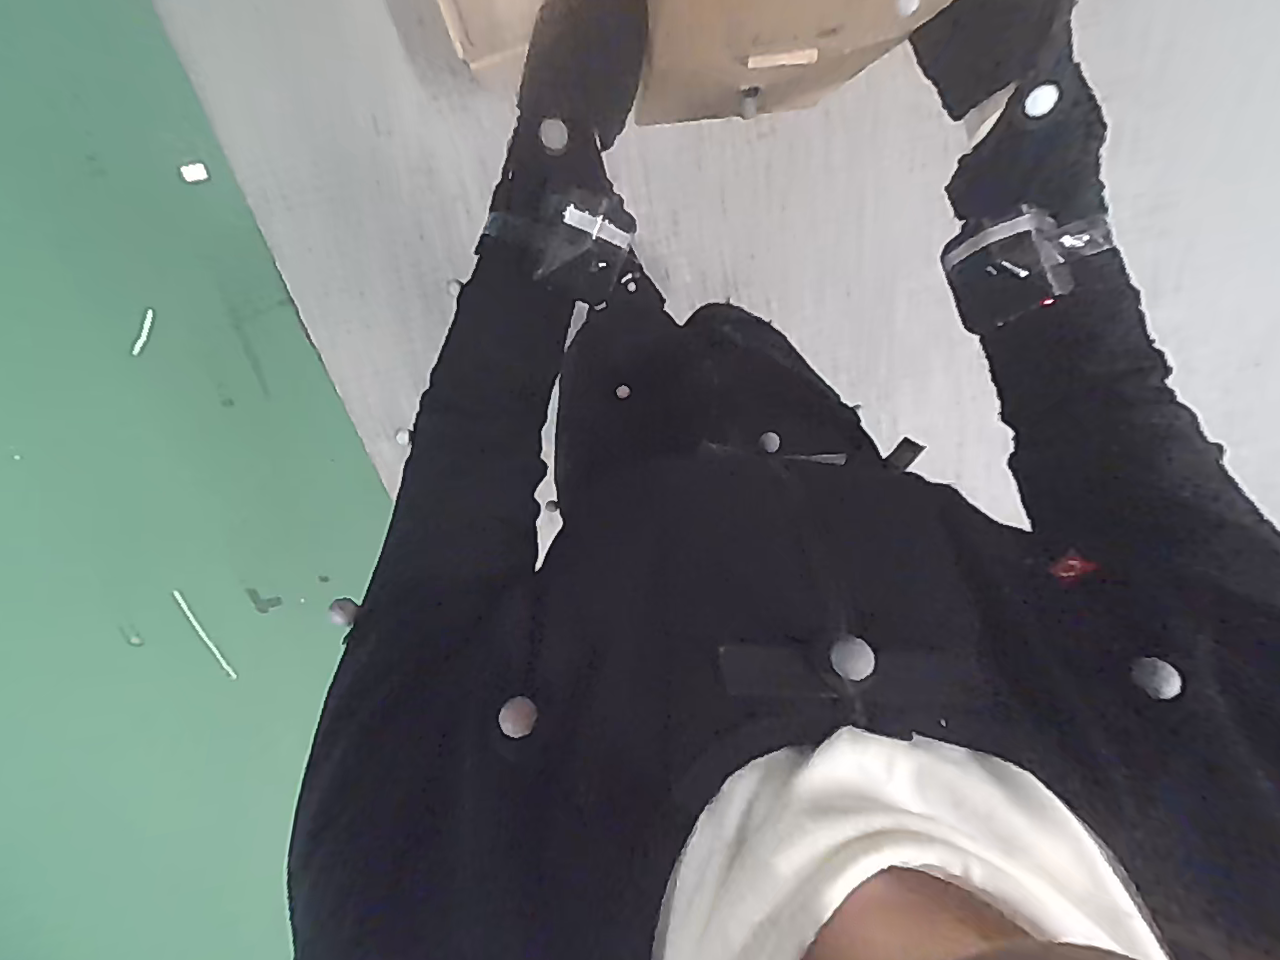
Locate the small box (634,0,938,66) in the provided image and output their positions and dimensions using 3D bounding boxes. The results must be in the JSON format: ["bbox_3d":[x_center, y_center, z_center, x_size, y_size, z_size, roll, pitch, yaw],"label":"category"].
[{"bbox_3d":[0.077,-0.316,0.240,0.168,0.176,0.179,-8,110,-1],"label":"small box"}]

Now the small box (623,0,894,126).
[{"bbox_3d":[0.073,-0.375,0.392,0.168,0.176,0.179,-7,112,-1],"label":"small box"}]
